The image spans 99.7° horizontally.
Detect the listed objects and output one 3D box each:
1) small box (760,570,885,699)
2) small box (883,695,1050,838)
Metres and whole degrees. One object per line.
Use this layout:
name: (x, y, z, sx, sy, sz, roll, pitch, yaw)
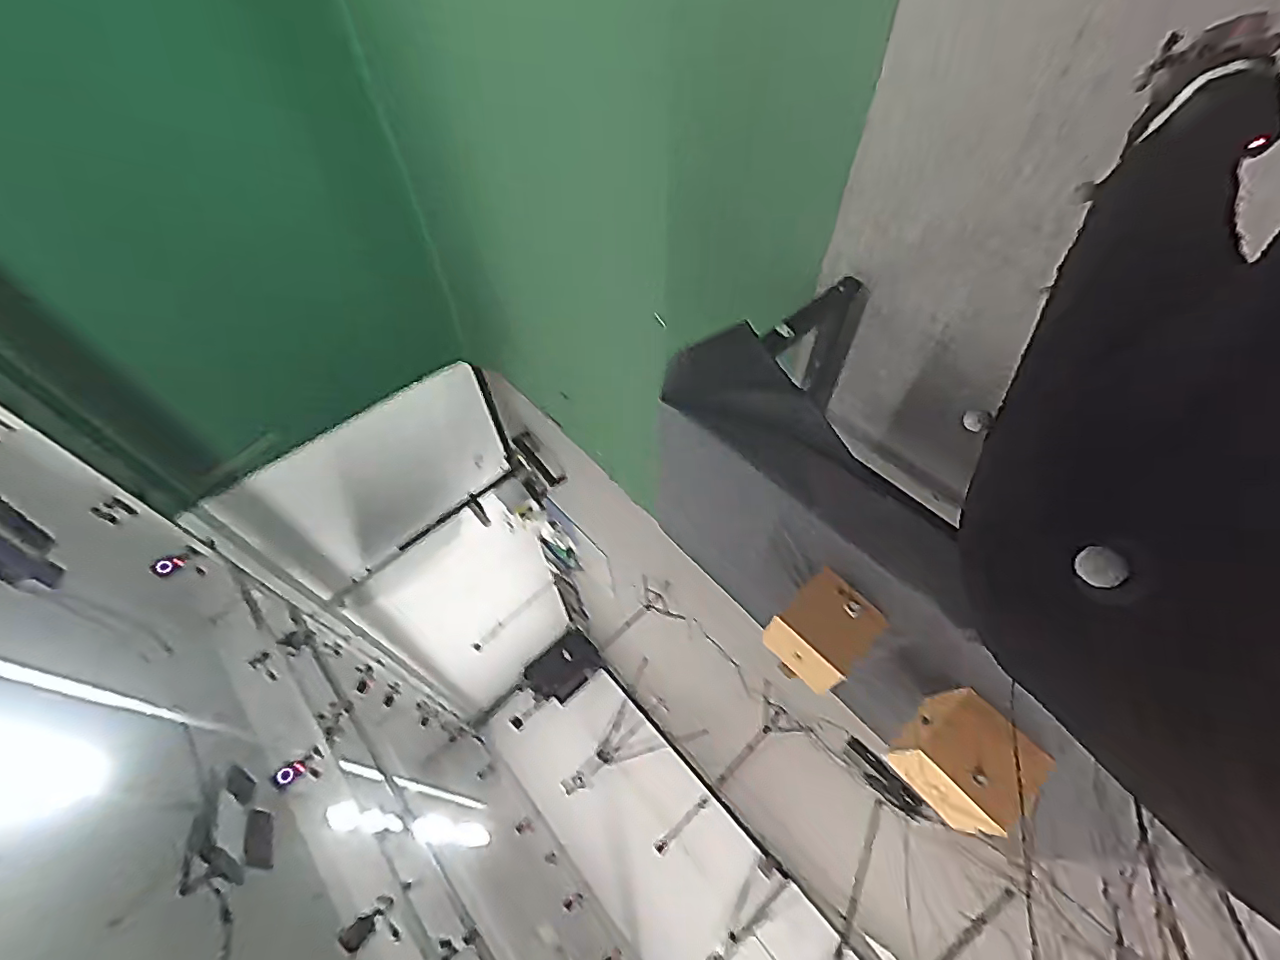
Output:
small box: (0.384, 0.326, 1.145, 0.168, 0.176, 0.179, 41, 154, 24)
small box: (0.606, 0.528, 1.014, 0.179, 0.176, 0.168, 44, 156, 20)
